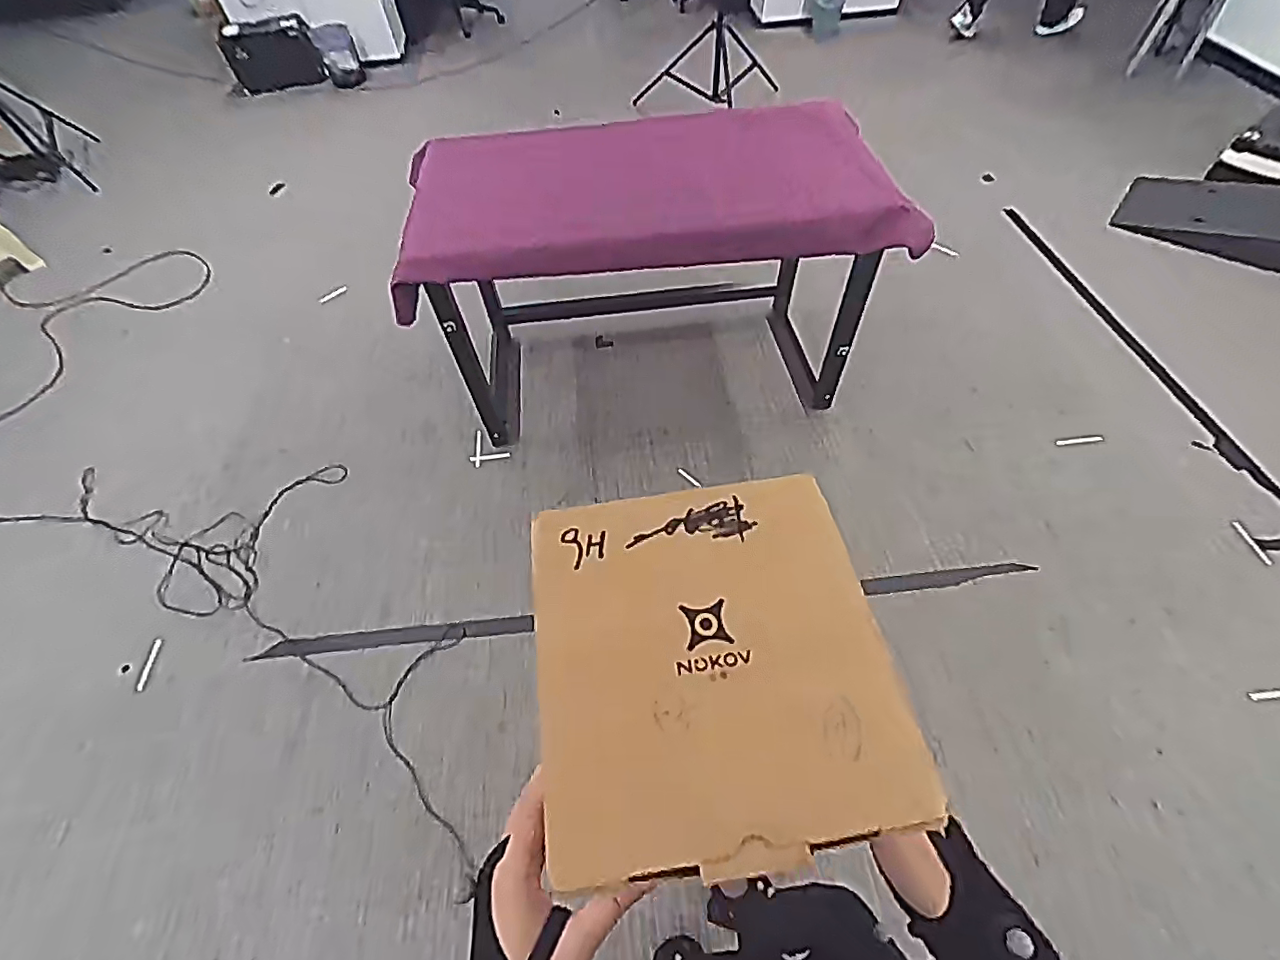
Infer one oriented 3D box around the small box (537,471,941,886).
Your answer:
[{"bbox_3d":[0.036,0.120,0.330,0.168,0.176,0.179,-8,57,-4],"label":"small box"}]
